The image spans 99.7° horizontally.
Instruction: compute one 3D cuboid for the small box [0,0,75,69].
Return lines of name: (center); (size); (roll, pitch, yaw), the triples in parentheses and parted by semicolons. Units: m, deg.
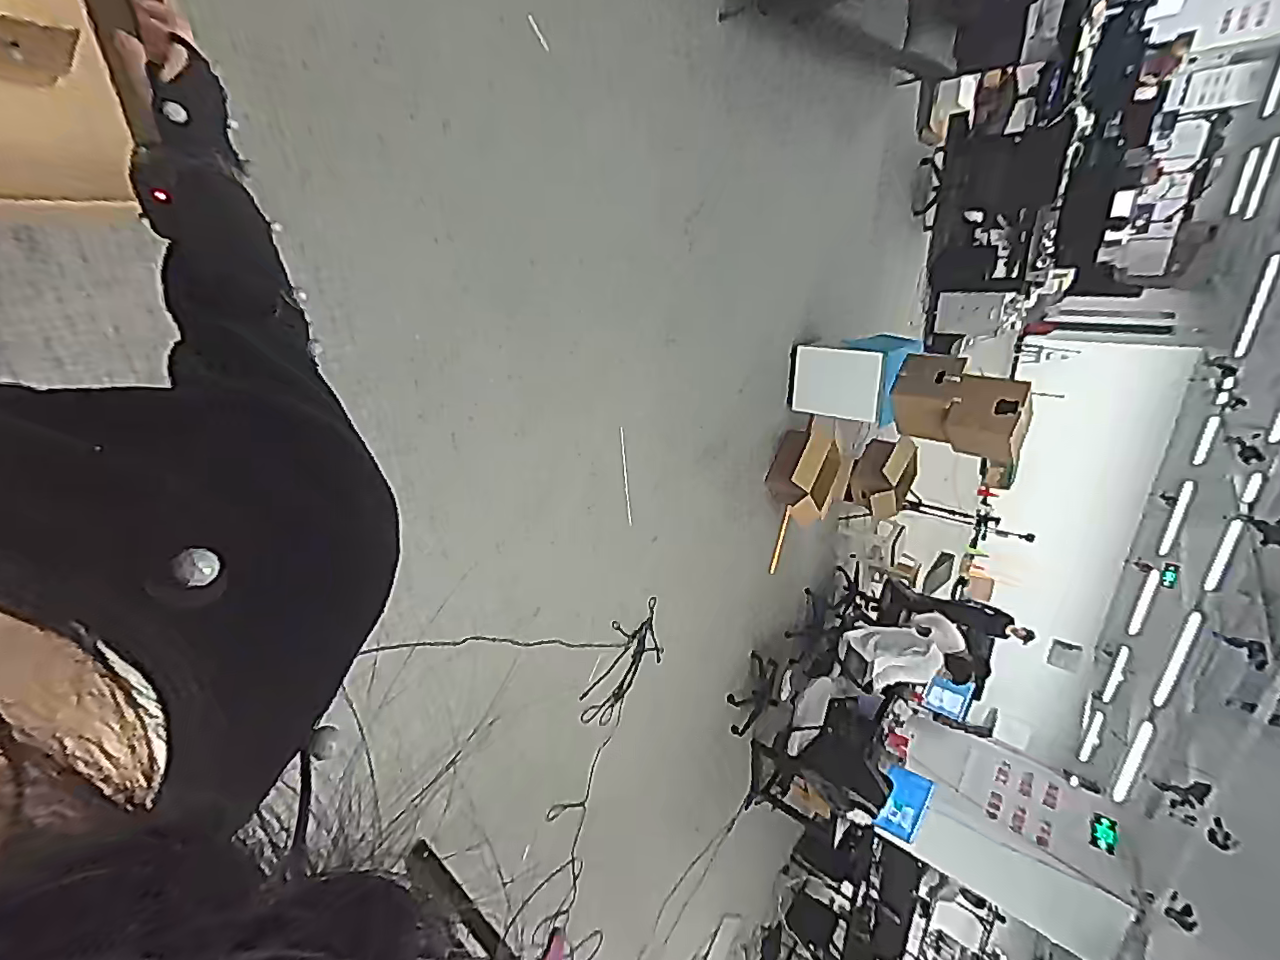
small box: (-0.635, -0.482, 0.460); (0.179, 0.176, 0.168); (-20, 118, -44)
